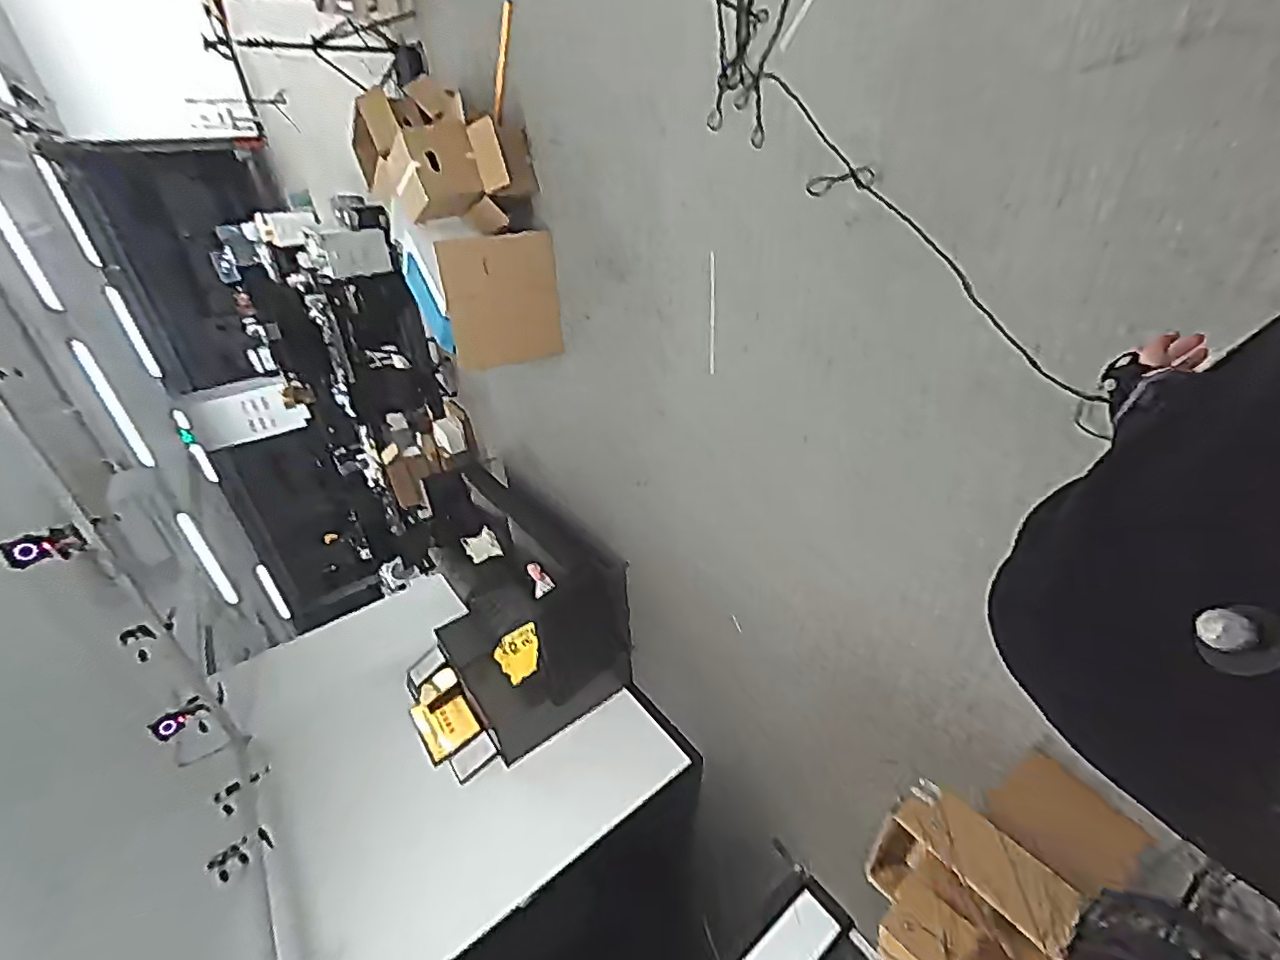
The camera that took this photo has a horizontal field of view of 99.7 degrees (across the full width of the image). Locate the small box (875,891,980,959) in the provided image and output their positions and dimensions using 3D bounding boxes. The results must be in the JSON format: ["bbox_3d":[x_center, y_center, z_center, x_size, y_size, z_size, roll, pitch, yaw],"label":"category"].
[{"bbox_3d":[0.734,1.211,1.389,0.179,0.176,0.168,23,130,47],"label":"small box"}]

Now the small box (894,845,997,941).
[{"bbox_3d":[0.850,1.164,1.501,0.168,0.176,0.179,41,140,35],"label":"small box"}]
